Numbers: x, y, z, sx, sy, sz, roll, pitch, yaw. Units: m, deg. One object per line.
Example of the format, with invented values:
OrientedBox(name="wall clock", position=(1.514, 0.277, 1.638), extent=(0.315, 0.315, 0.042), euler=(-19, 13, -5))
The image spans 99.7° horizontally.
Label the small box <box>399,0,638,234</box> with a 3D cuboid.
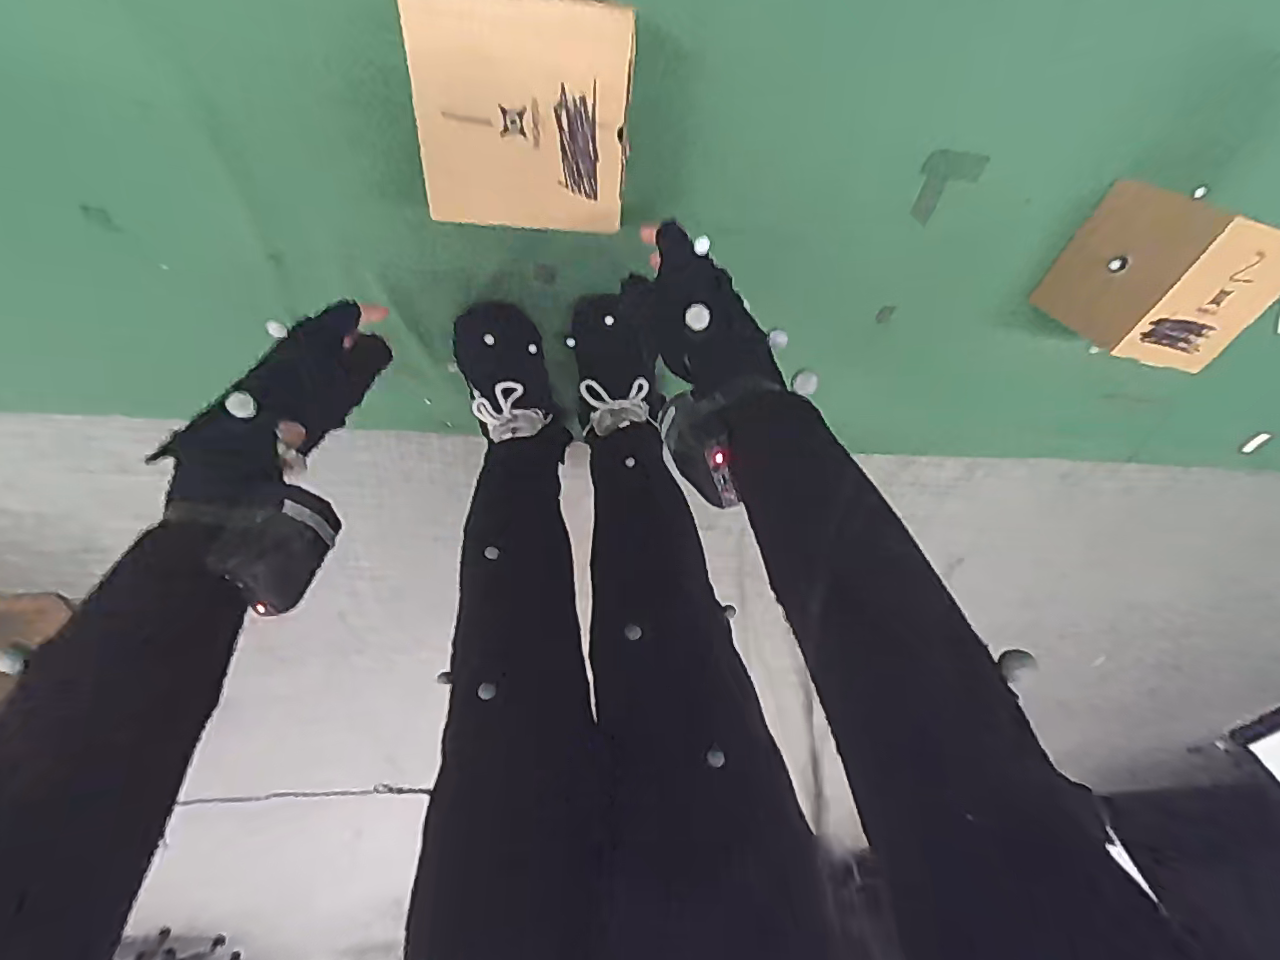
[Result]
OrientedBox(name="small box", position=(-0.104, -0.349, 0.505), extent=(0.179, 0.176, 0.168), euler=(1, 133, -9))
